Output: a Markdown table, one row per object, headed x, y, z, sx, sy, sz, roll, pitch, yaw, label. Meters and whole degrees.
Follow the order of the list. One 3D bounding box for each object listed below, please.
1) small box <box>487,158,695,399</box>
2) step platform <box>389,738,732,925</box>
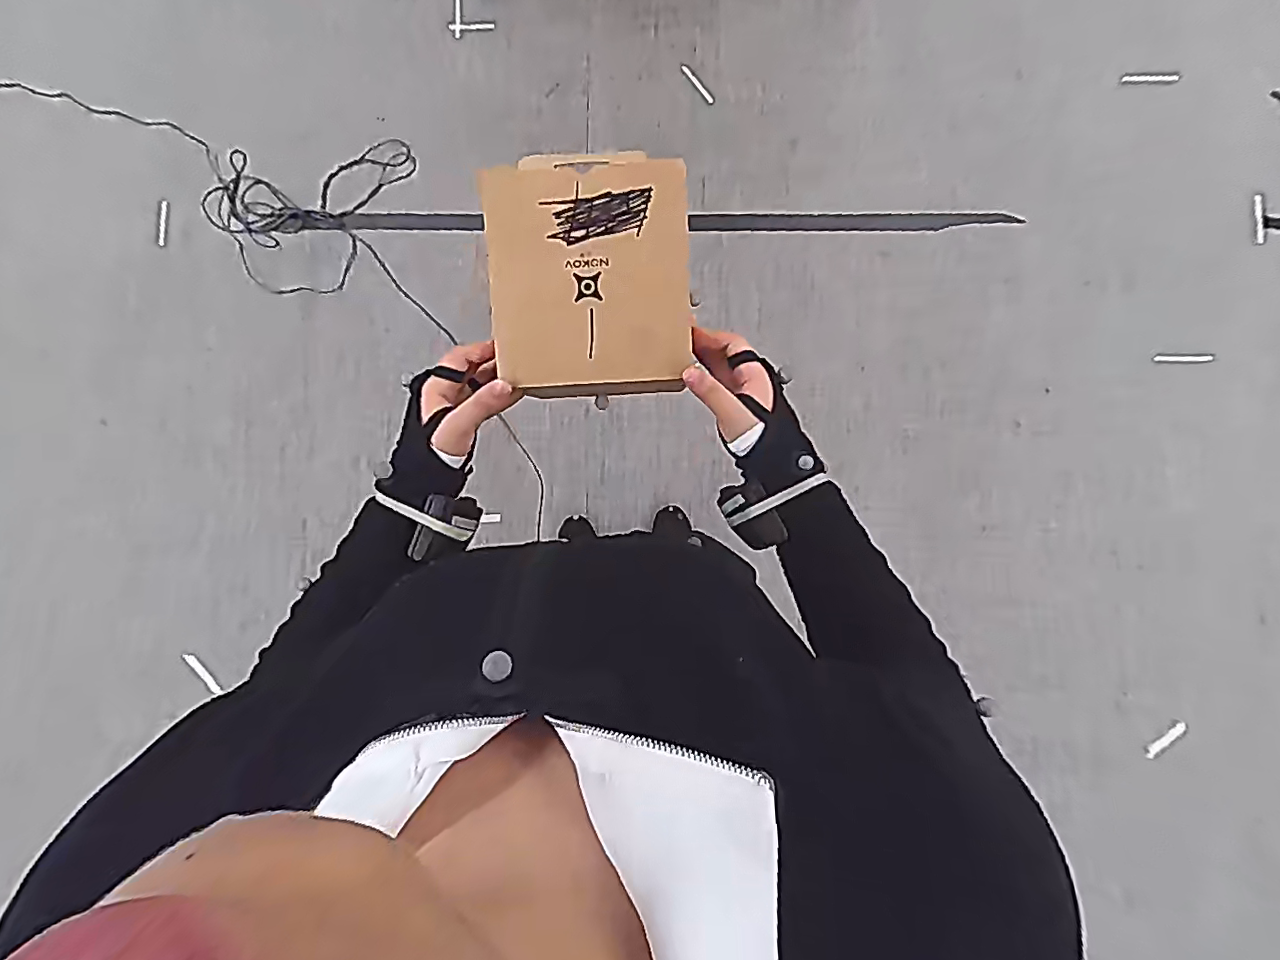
| x | y | z | sx | sy | sz | roll | pitch | yaw | label |
| --- | --- | --- | --- | --- | --- | --- | --- | --- | --- |
| -0.038 | -0.174 | 0.518 | 0.168 | 0.176 | 0.179 | -3 | 95 | 2 | small box |
| -0.156 | 0.732 | 1.156 | 0.684 | 0.204 | 0.286 | -2 | 87 | 2 | step platform |
